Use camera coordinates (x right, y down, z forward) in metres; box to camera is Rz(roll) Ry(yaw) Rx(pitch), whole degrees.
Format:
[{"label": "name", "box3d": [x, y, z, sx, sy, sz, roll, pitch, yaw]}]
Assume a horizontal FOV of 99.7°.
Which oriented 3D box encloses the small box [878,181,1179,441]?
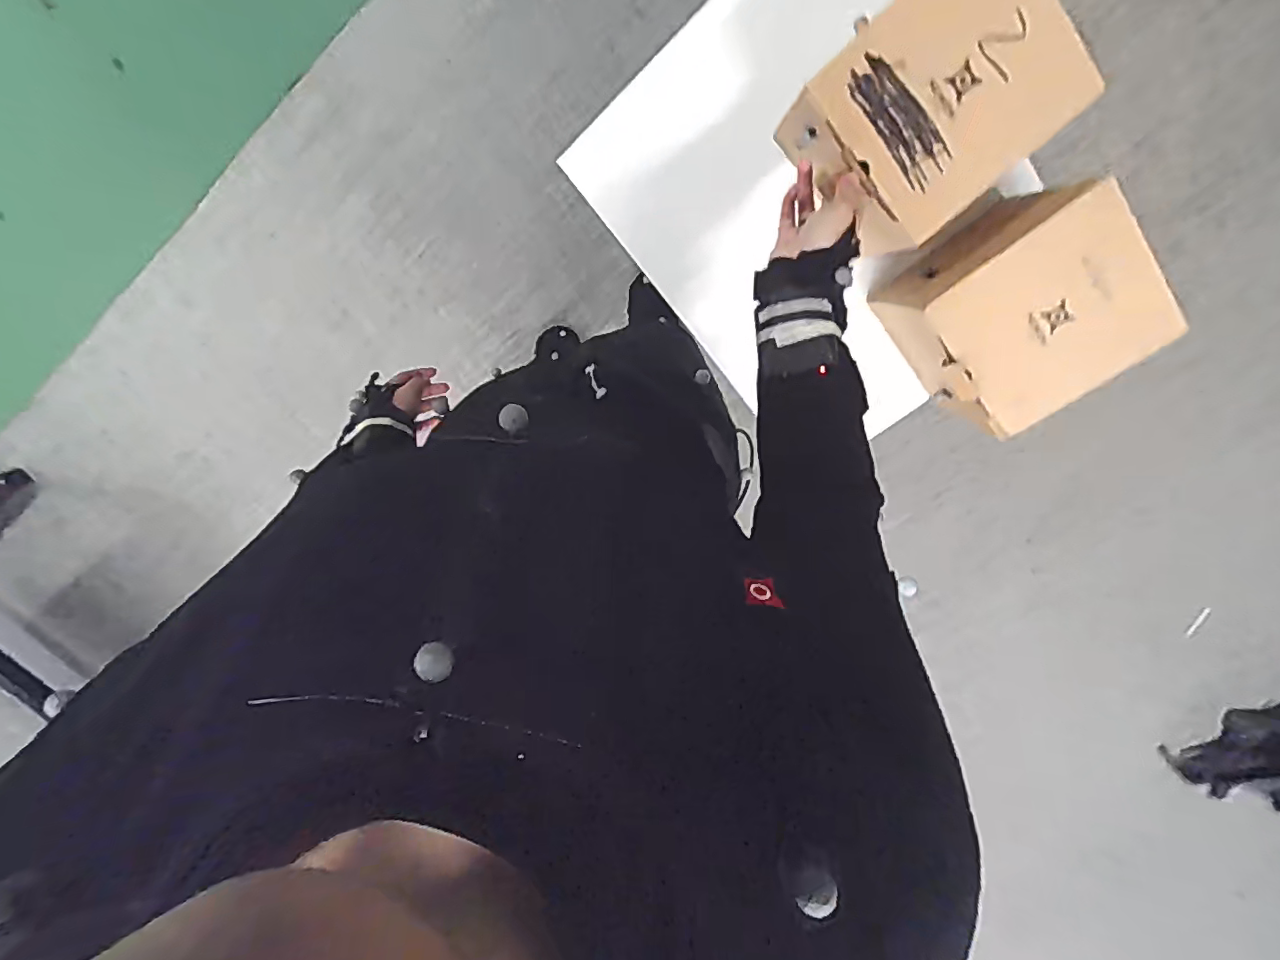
[{"label": "small box", "box3d": [0.379, -0.174, 0.570, 0.179, 0.176, 0.168, -38, 106, 16]}]
